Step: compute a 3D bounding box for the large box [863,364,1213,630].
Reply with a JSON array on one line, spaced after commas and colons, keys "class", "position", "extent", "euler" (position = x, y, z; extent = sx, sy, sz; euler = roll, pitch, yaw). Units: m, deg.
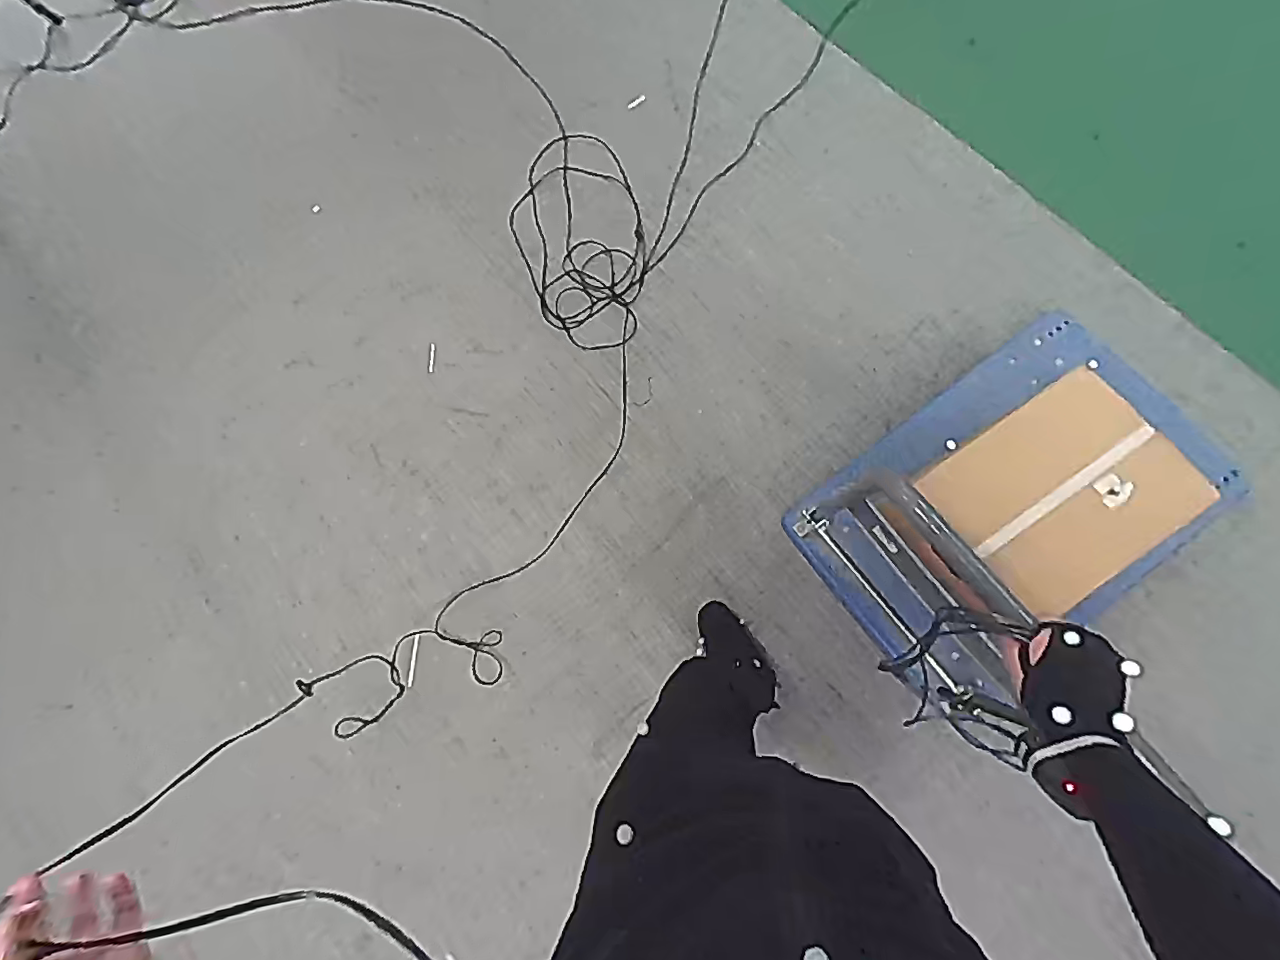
[{"class": "large box", "position": [0.742, 0.054, 1.085], "extent": [0.408, 0.320, 0.320], "euler": [-35, 77, -3]}]
